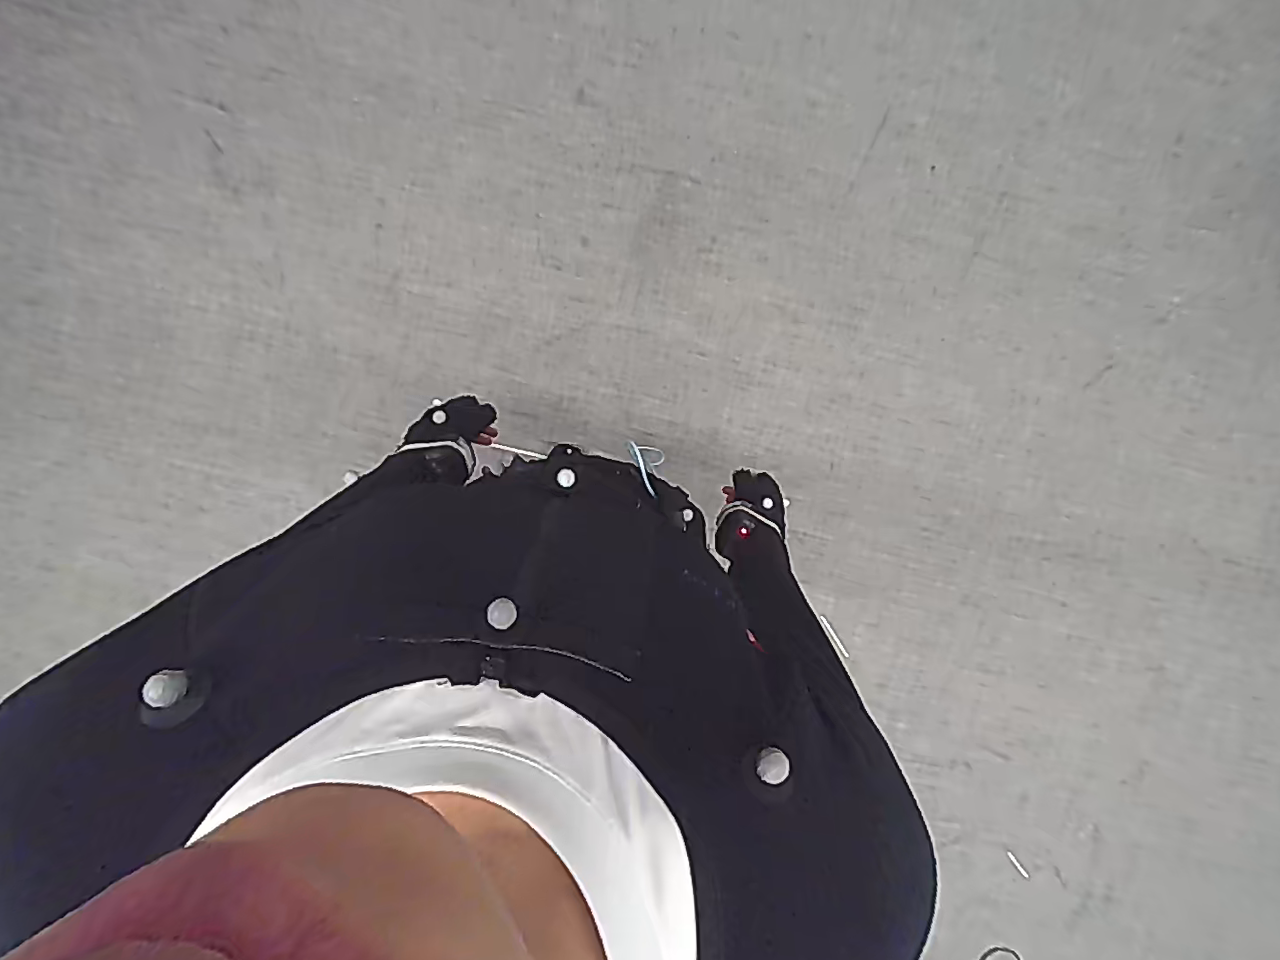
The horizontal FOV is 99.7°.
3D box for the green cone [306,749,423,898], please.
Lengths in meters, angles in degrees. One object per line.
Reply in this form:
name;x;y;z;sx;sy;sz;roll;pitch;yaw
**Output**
green cone;-0.706;0.863;1.326;0.202;0.368;0.200;12;93;-4
